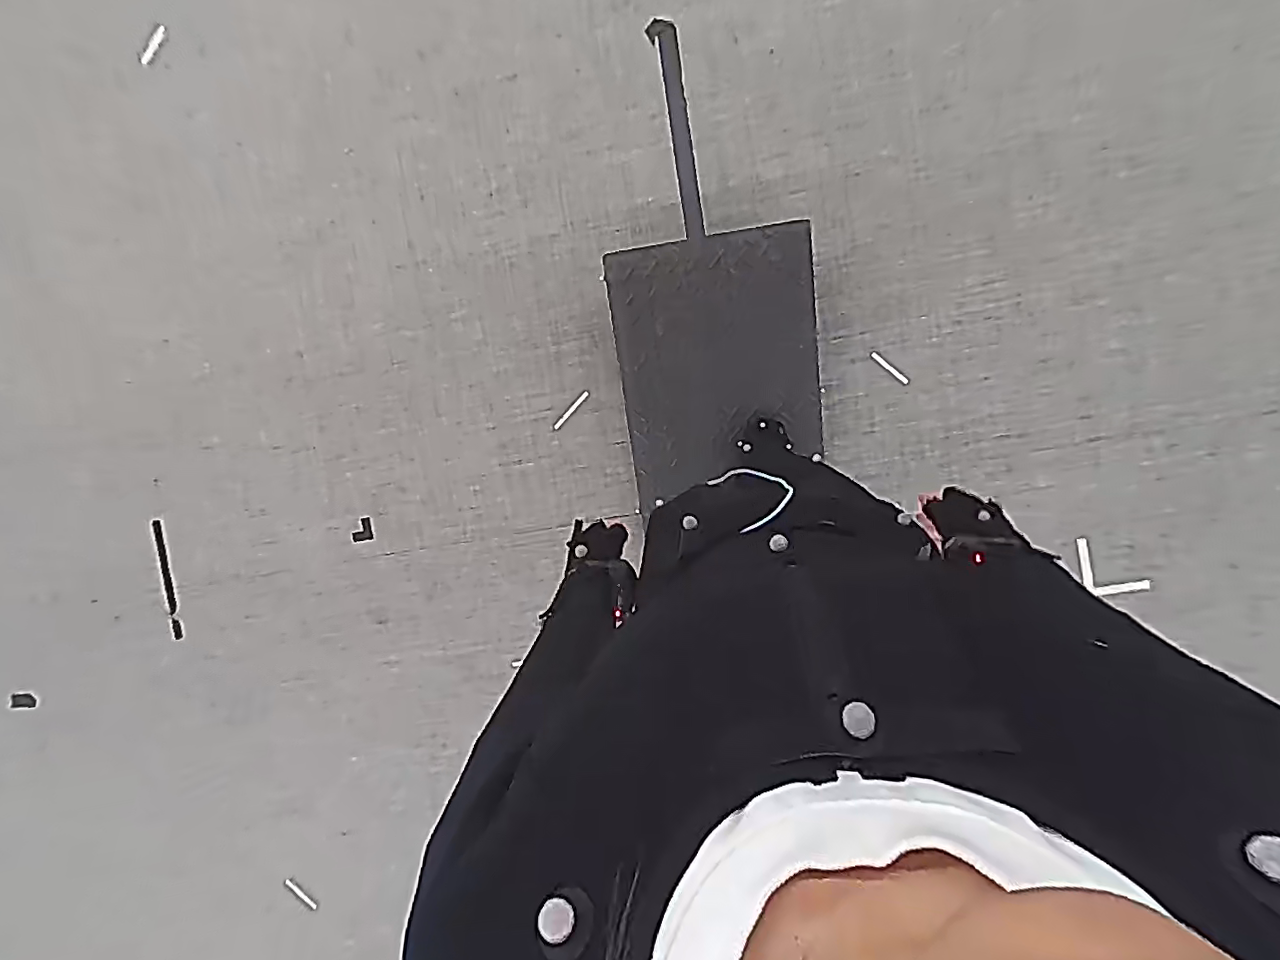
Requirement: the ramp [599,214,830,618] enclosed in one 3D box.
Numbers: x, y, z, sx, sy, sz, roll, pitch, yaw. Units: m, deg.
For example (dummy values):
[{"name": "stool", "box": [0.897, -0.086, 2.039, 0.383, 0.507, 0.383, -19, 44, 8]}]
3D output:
[{"name": "ramp", "box": [0.214, -0.106, 1.395, 0.509, 0.206, 0.991, -8, 95, 7]}]
